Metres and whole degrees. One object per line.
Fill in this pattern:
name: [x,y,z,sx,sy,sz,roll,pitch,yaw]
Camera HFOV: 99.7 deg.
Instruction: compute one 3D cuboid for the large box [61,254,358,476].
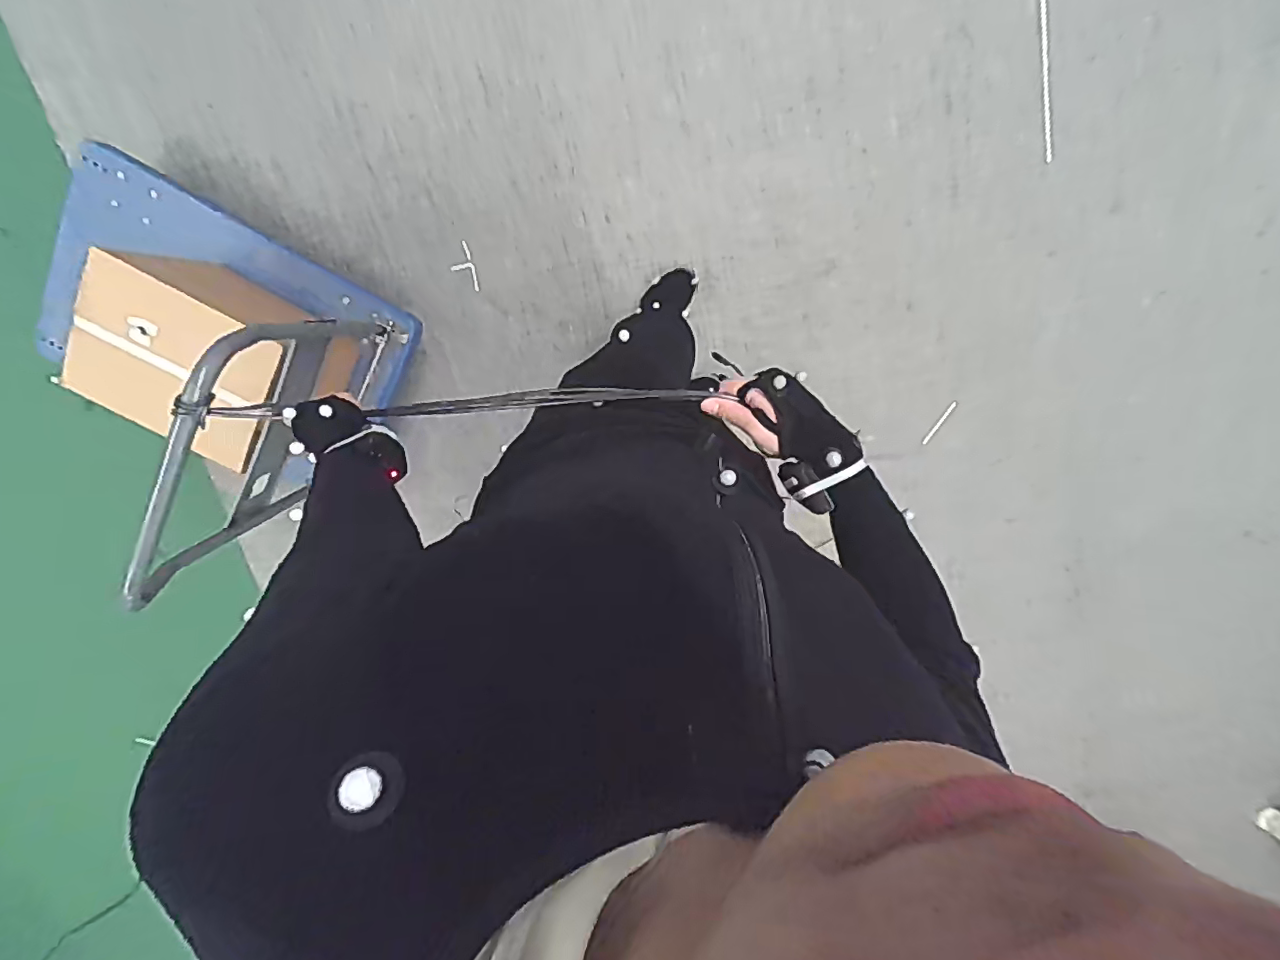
large box: [-0.958,-0.263,1.250,0.408,0.320,0.320,29,104,-5]
